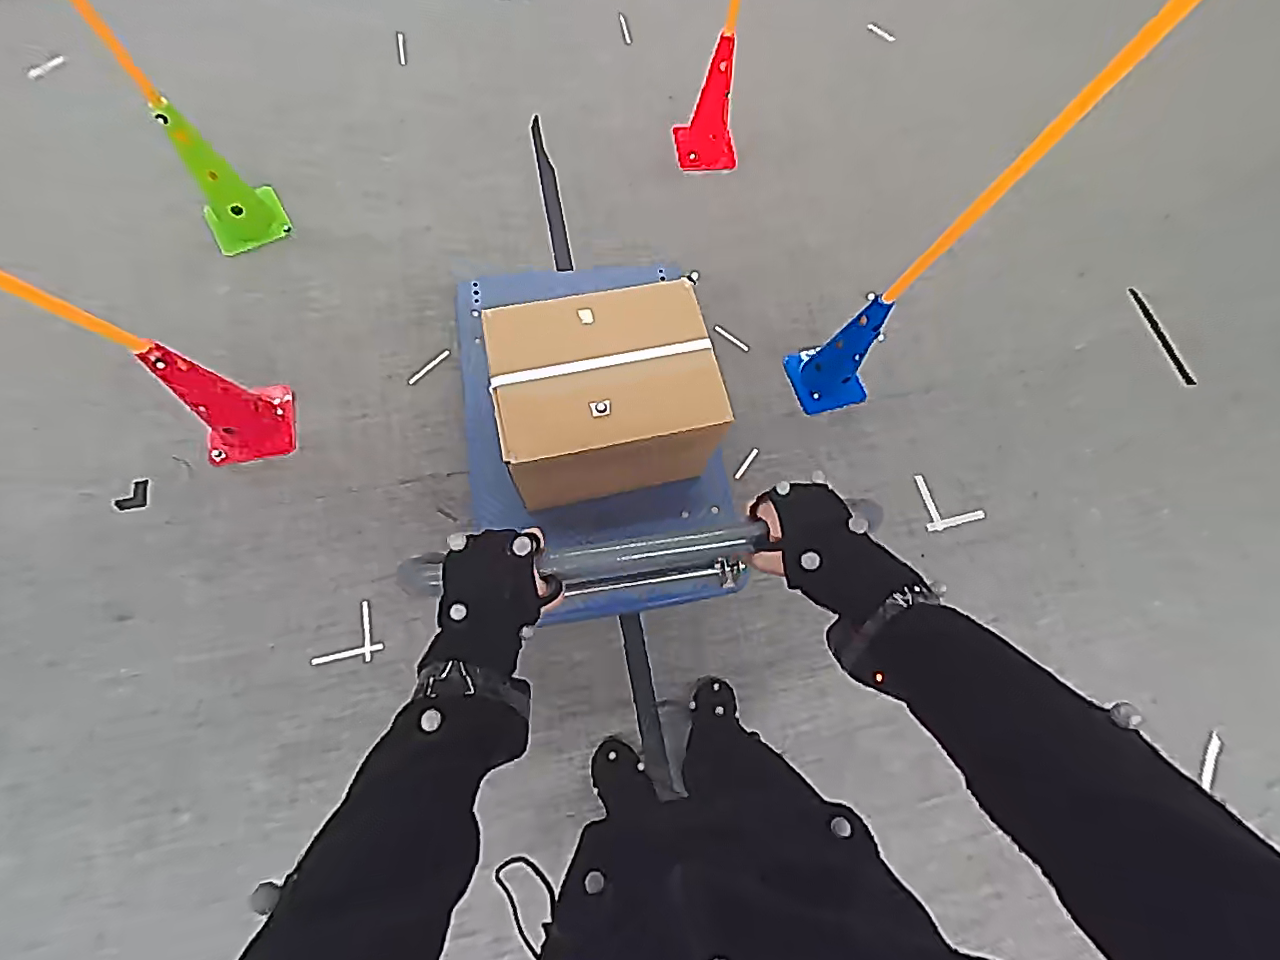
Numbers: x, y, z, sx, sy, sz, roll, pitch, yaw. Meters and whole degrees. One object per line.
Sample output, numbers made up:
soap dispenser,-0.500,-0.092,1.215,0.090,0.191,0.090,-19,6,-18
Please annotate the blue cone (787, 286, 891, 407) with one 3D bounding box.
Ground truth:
blue cone,0.551,-0.360,1.412,0.193,0.380,0.192,-14,72,-10

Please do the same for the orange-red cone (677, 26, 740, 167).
orange-red cone,0.244,-1.183,1.654,0.199,0.360,0.198,-3,72,-7
